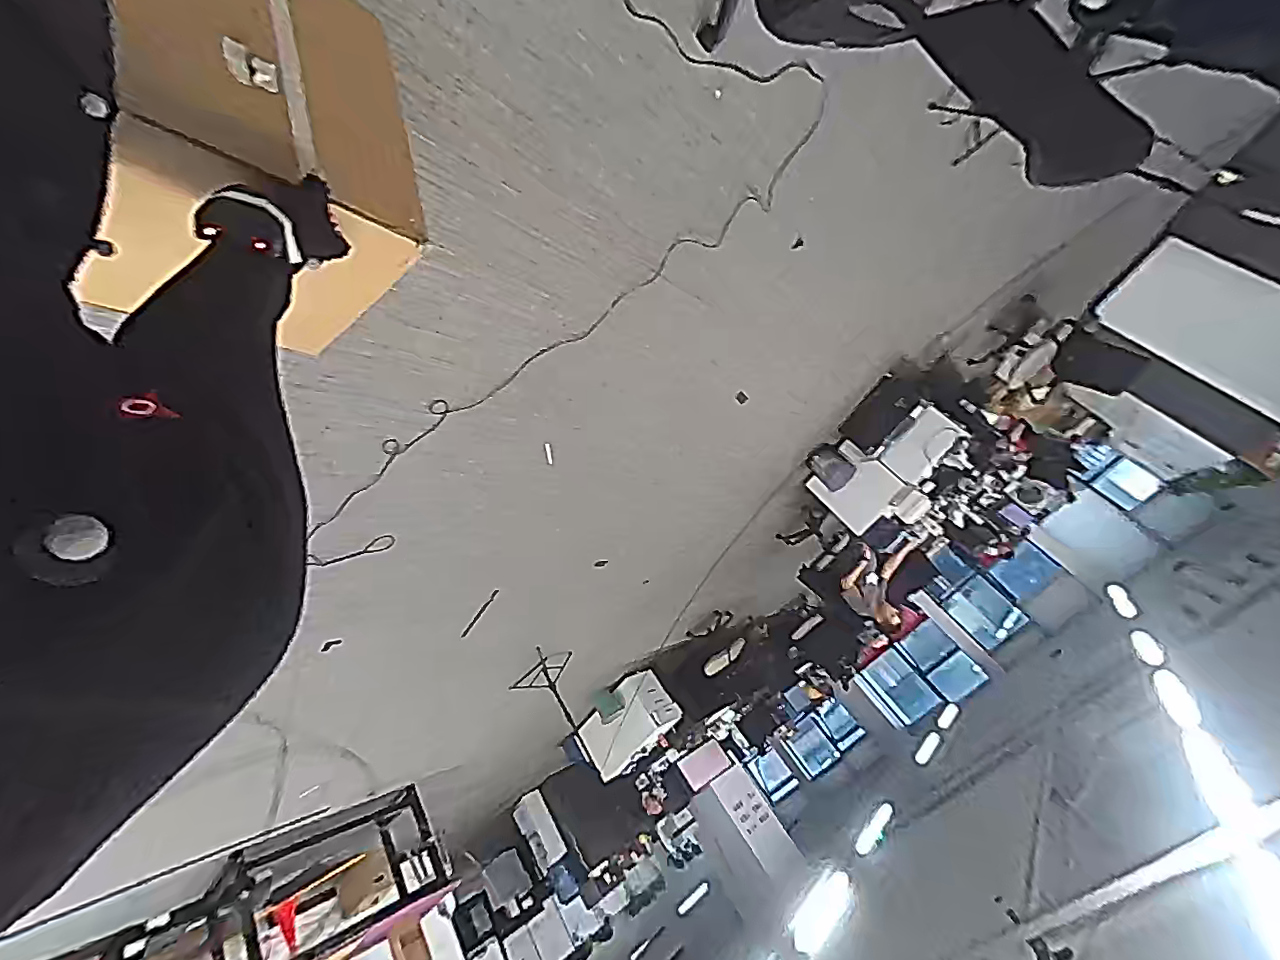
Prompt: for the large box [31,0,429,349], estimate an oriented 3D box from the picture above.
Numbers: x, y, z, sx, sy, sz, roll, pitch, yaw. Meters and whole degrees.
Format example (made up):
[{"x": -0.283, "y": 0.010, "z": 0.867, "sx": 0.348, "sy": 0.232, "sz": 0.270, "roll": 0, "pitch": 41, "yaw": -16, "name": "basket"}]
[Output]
[{"x": -0.540, "y": -0.450, "z": 0.719, "sx": 0.320, "sy": 0.408, "sz": 0.320, "roll": -23, "pitch": 166, "yaw": 31, "name": "large box"}]
